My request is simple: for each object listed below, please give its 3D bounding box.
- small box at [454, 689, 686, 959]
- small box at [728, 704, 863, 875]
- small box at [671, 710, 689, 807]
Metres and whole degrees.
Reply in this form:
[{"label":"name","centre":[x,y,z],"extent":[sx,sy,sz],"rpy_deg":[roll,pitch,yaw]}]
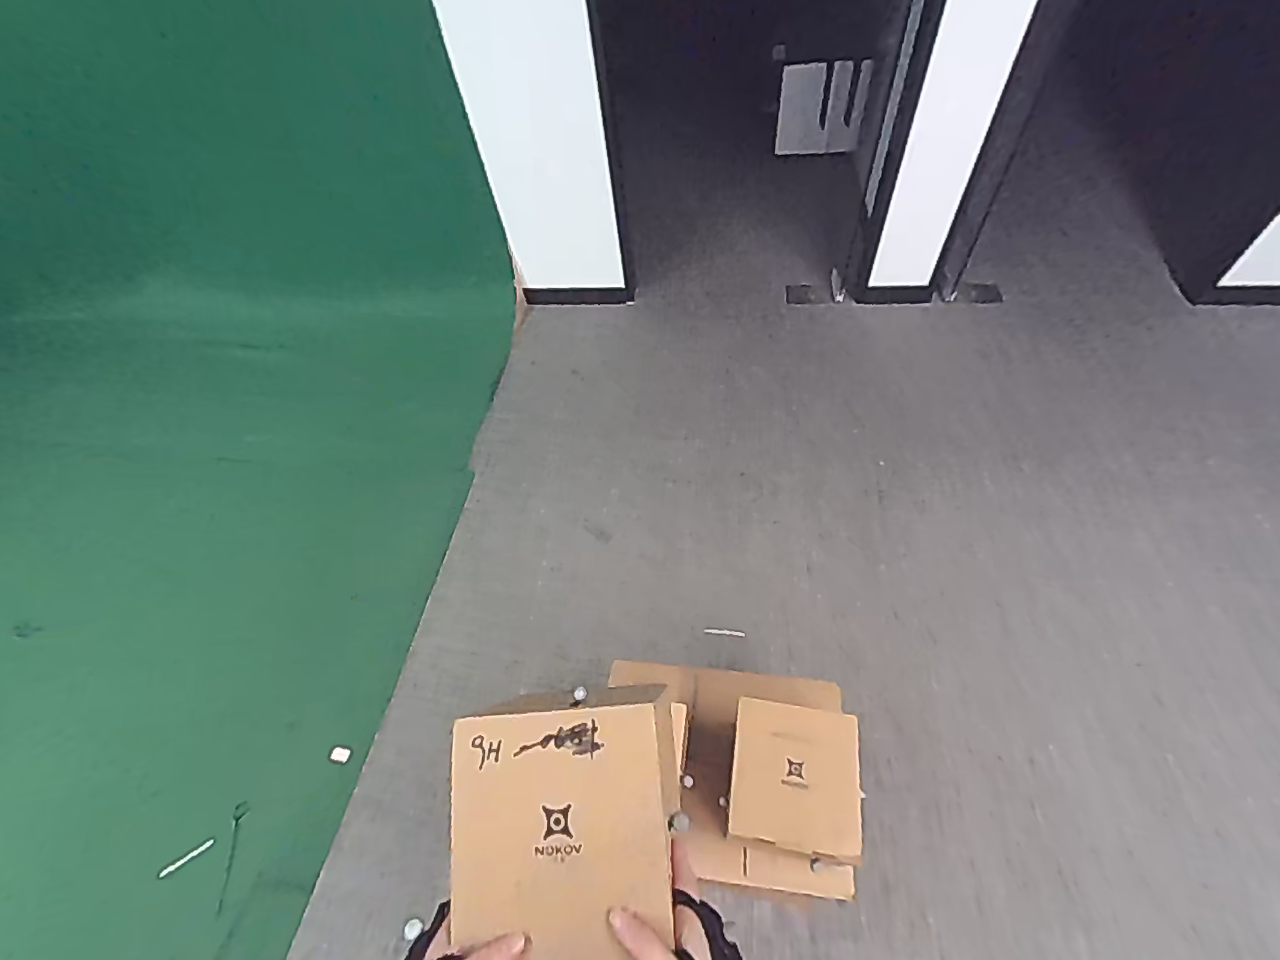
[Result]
[{"label":"small box","centre":[-0.051,0.292,0.483],"extent":[0.168,0.176,0.179],"rpy_deg":[-7,73,5]},{"label":"small box","centre":[0.218,0.447,0.778],"extent":[0.168,0.176,0.179],"rpy_deg":[5,53,12]},{"label":"small box","centre":[-0.017,0.447,0.809],"extent":[0.168,0.176,0.179],"rpy_deg":[4,56,8]}]
